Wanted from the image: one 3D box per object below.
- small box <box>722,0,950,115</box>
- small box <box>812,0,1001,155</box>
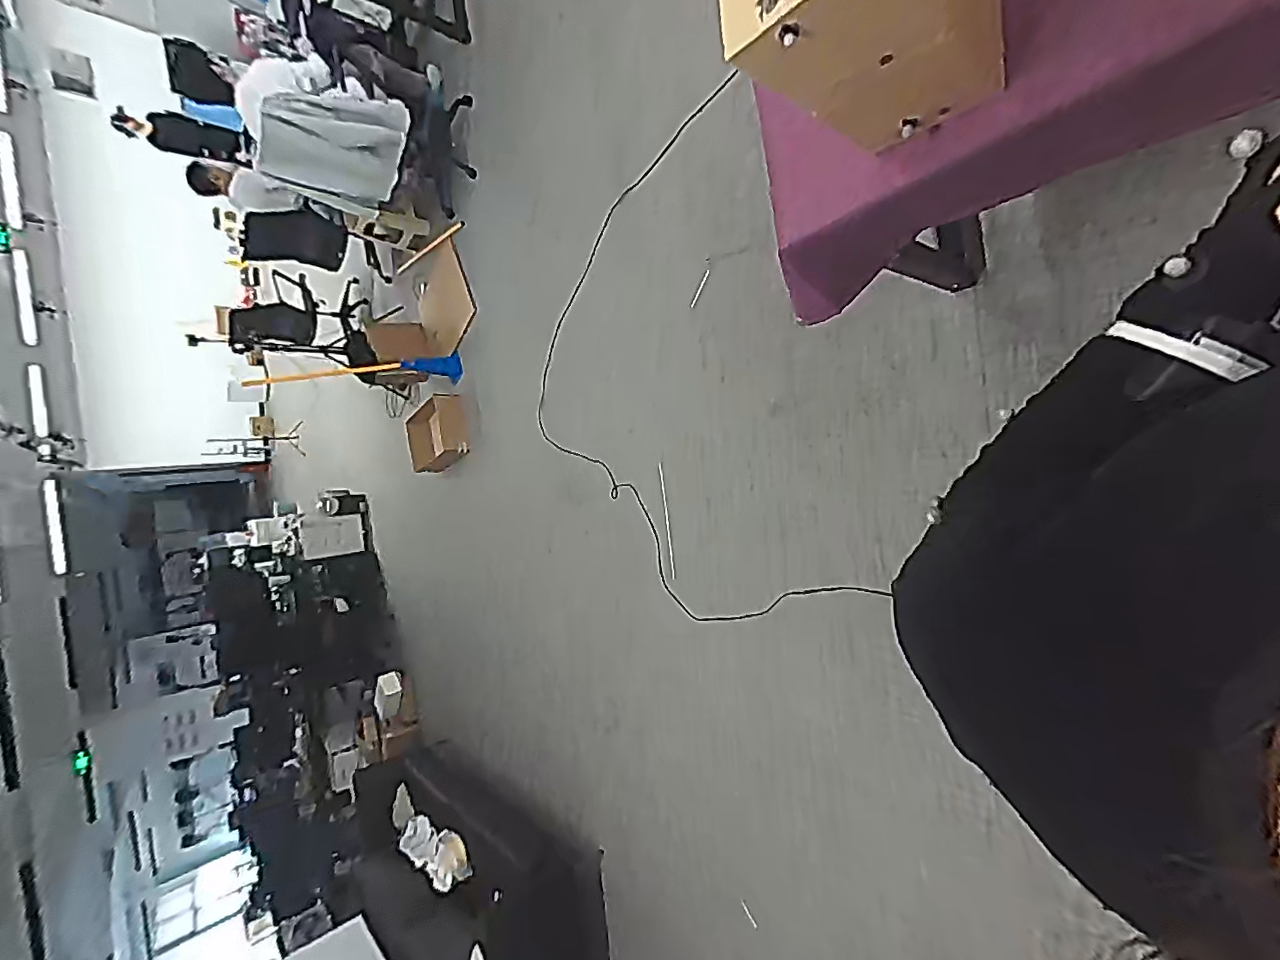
[{"bbox_3d":[0.202,-0.533,0.563,0.168,0.176,0.179,-2,92,51],"label":"small box"},{"bbox_3d":[0.326,-0.547,0.671,0.168,0.176,0.179,-2,94,50],"label":"small box"}]
